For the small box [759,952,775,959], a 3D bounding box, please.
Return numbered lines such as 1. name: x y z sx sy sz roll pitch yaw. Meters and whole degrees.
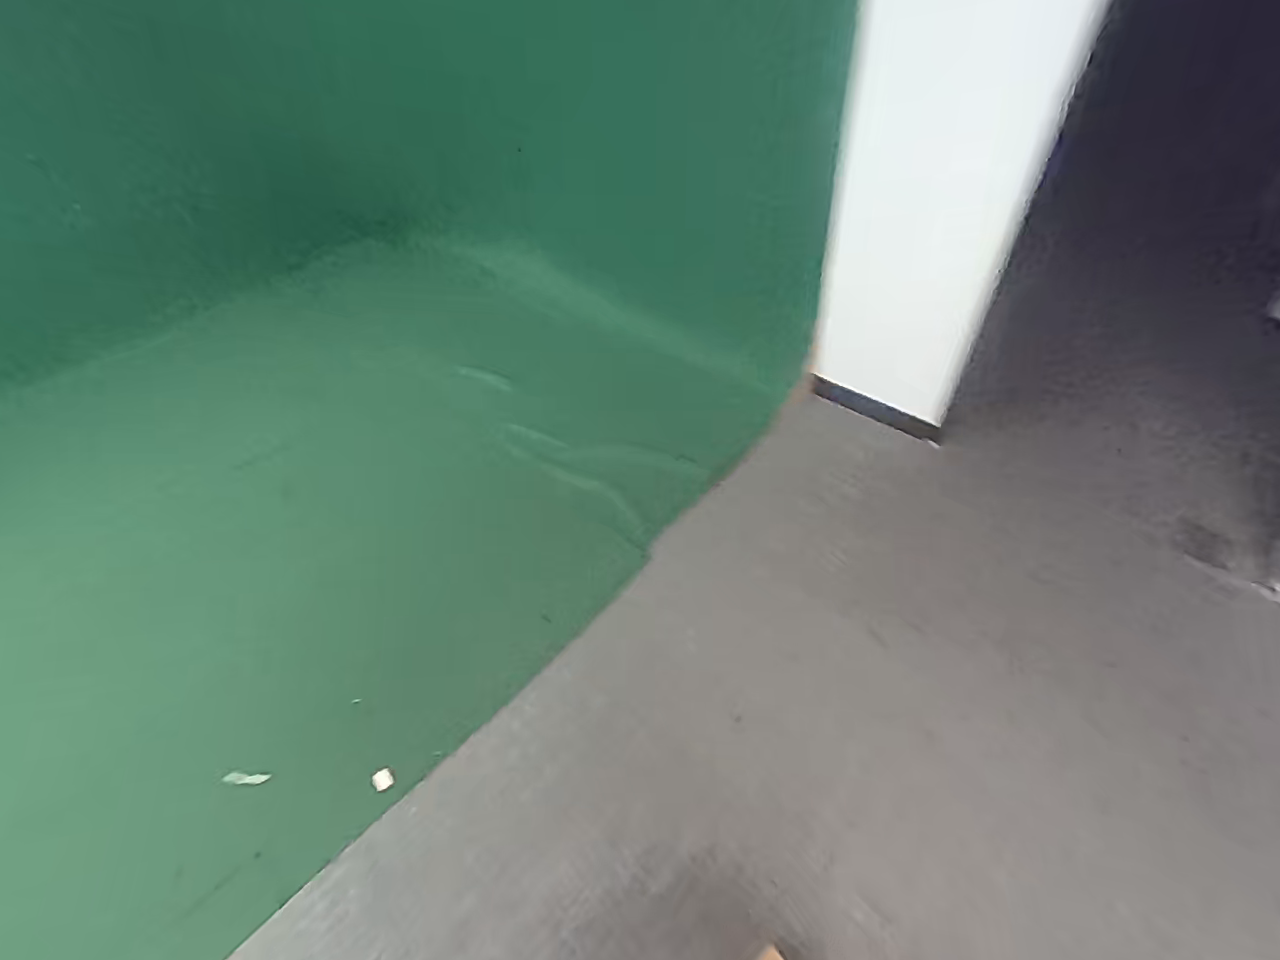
1. small box: 0.214 0.953 0.914 0.179 0.176 0.168 -33 52 -19
